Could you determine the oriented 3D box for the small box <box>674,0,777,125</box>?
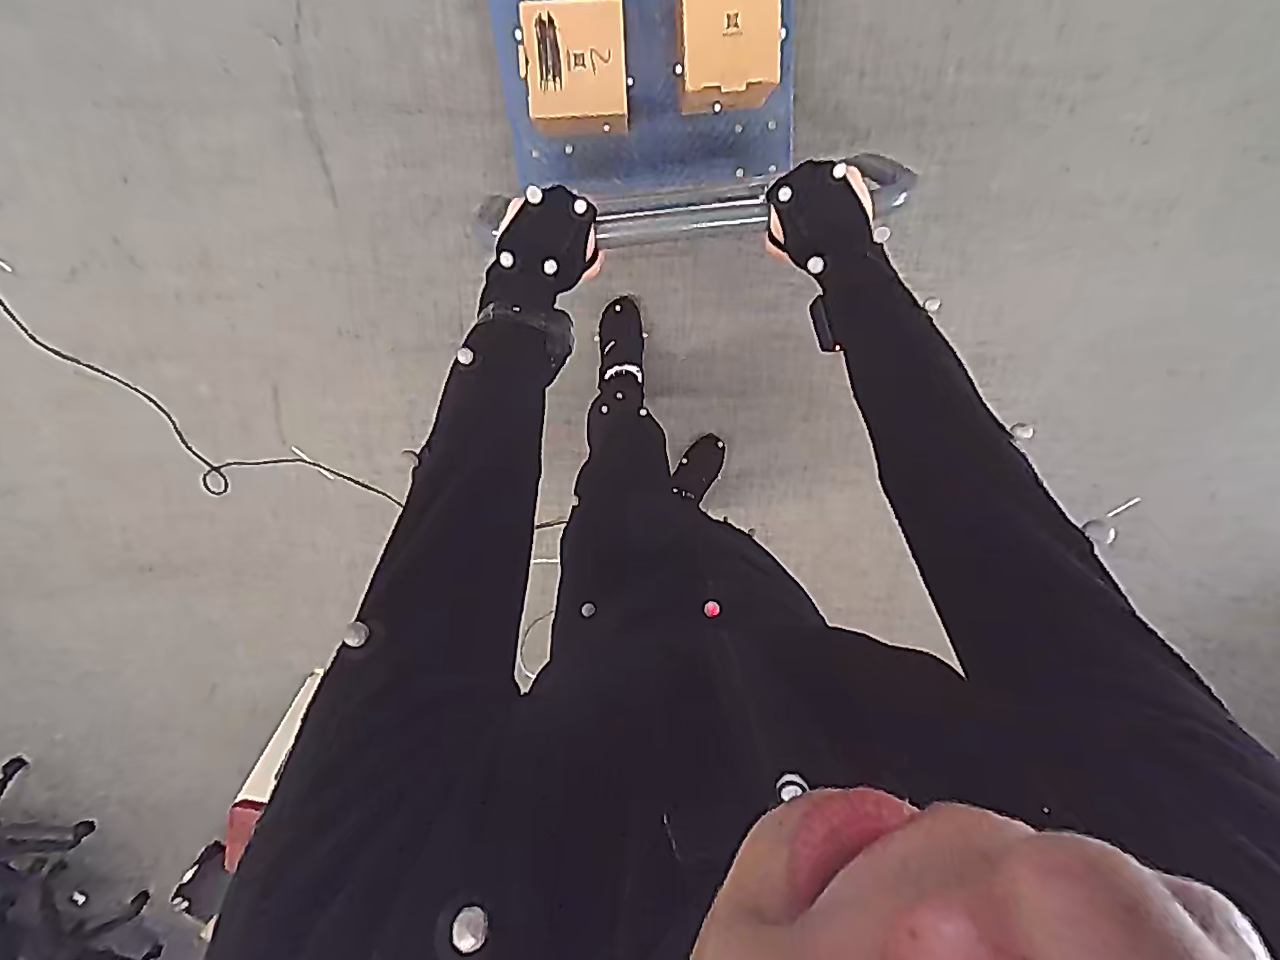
[{"bbox_3d":[0.155,-0.793,1.011,0.168,0.176,0.179,-5,112,2],"label":"small box"}]
